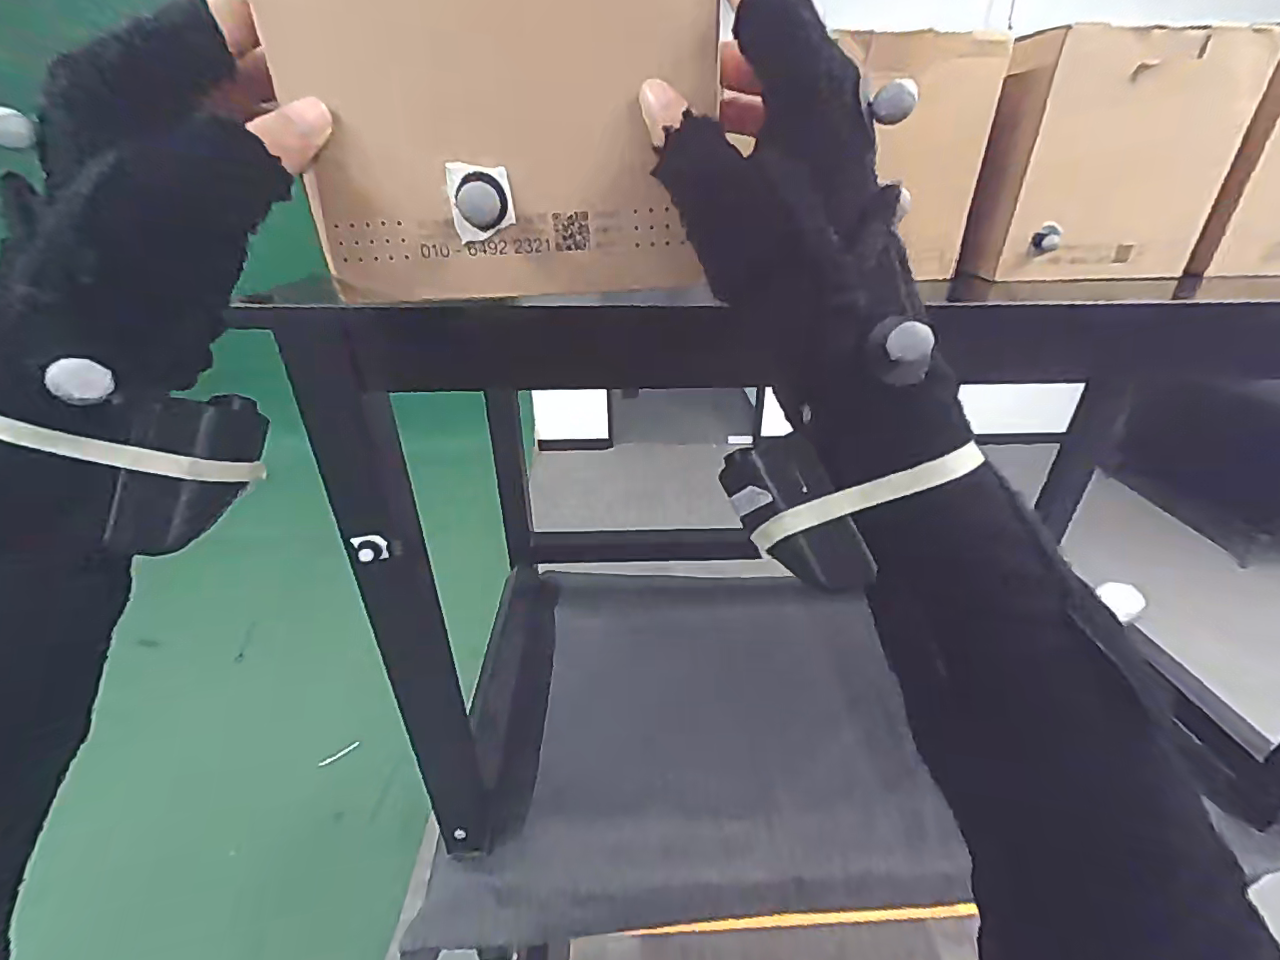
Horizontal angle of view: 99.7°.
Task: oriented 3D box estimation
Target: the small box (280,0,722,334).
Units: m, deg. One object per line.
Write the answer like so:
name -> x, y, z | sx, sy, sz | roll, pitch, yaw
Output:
small box -> -0.053, -0.178, 0.280 | 0.168, 0.176, 0.179 | -5, 28, 0
